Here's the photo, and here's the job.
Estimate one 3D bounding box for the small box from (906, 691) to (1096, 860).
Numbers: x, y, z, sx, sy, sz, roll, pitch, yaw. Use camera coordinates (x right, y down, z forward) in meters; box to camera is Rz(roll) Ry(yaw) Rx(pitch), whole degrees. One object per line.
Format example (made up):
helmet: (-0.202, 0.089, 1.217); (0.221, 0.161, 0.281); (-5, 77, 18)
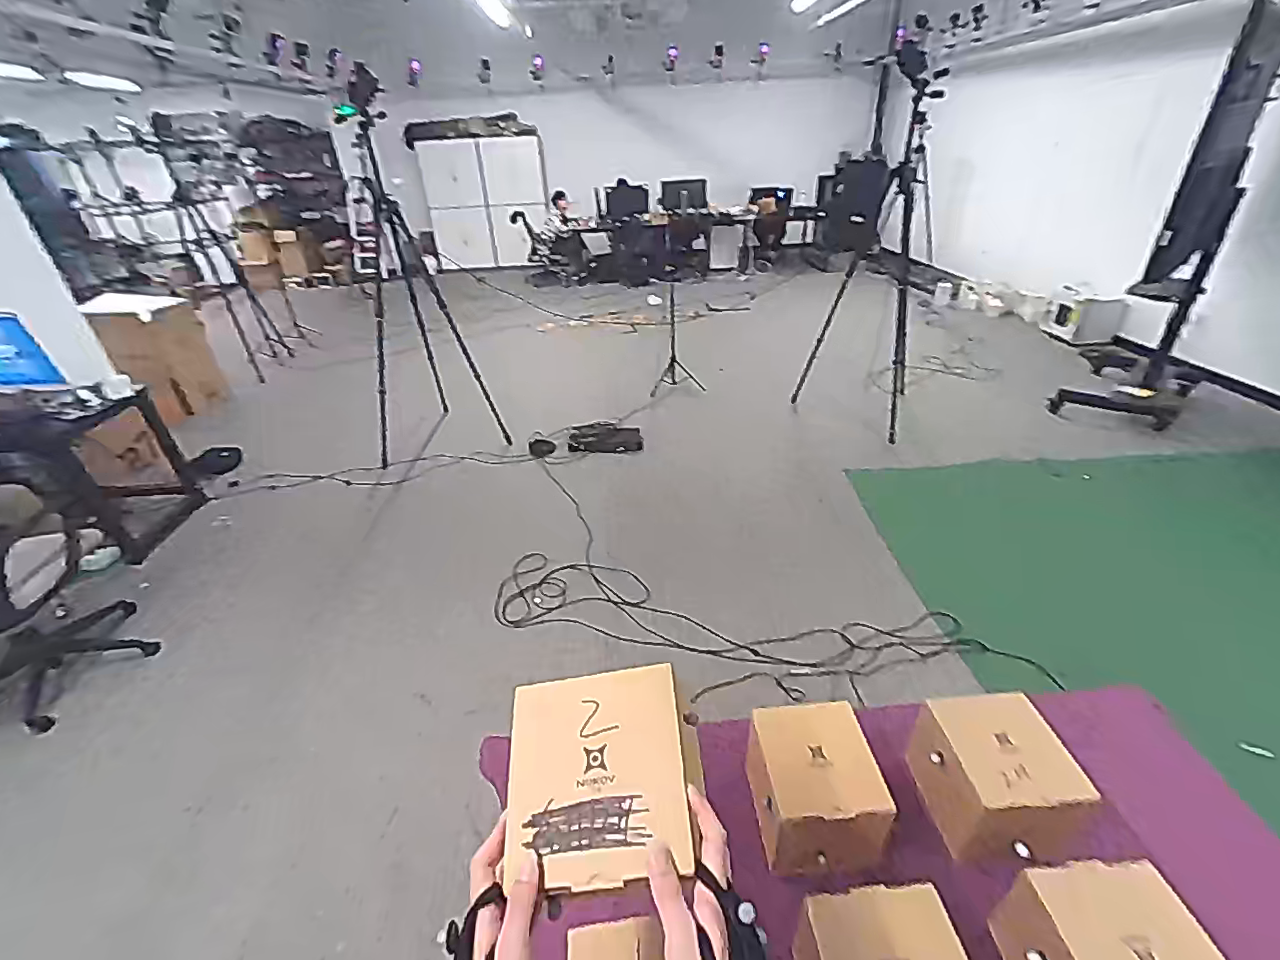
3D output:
small box: (0.551, 0.465, 0.859); (0.168, 0.176, 0.179); (-4, 32, 0)

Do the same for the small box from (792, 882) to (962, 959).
small box: (0.288, 0.622, 0.645); (0.168, 0.176, 0.179); (-5, 32, 0)

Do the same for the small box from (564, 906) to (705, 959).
small box: (0.003, 0.647, 0.631); (0.168, 0.176, 0.179); (-6, 30, -4)

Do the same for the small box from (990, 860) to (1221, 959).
small box: (0.564, 0.597, 0.650); (0.168, 0.176, 0.179); (-4, 31, 1)
